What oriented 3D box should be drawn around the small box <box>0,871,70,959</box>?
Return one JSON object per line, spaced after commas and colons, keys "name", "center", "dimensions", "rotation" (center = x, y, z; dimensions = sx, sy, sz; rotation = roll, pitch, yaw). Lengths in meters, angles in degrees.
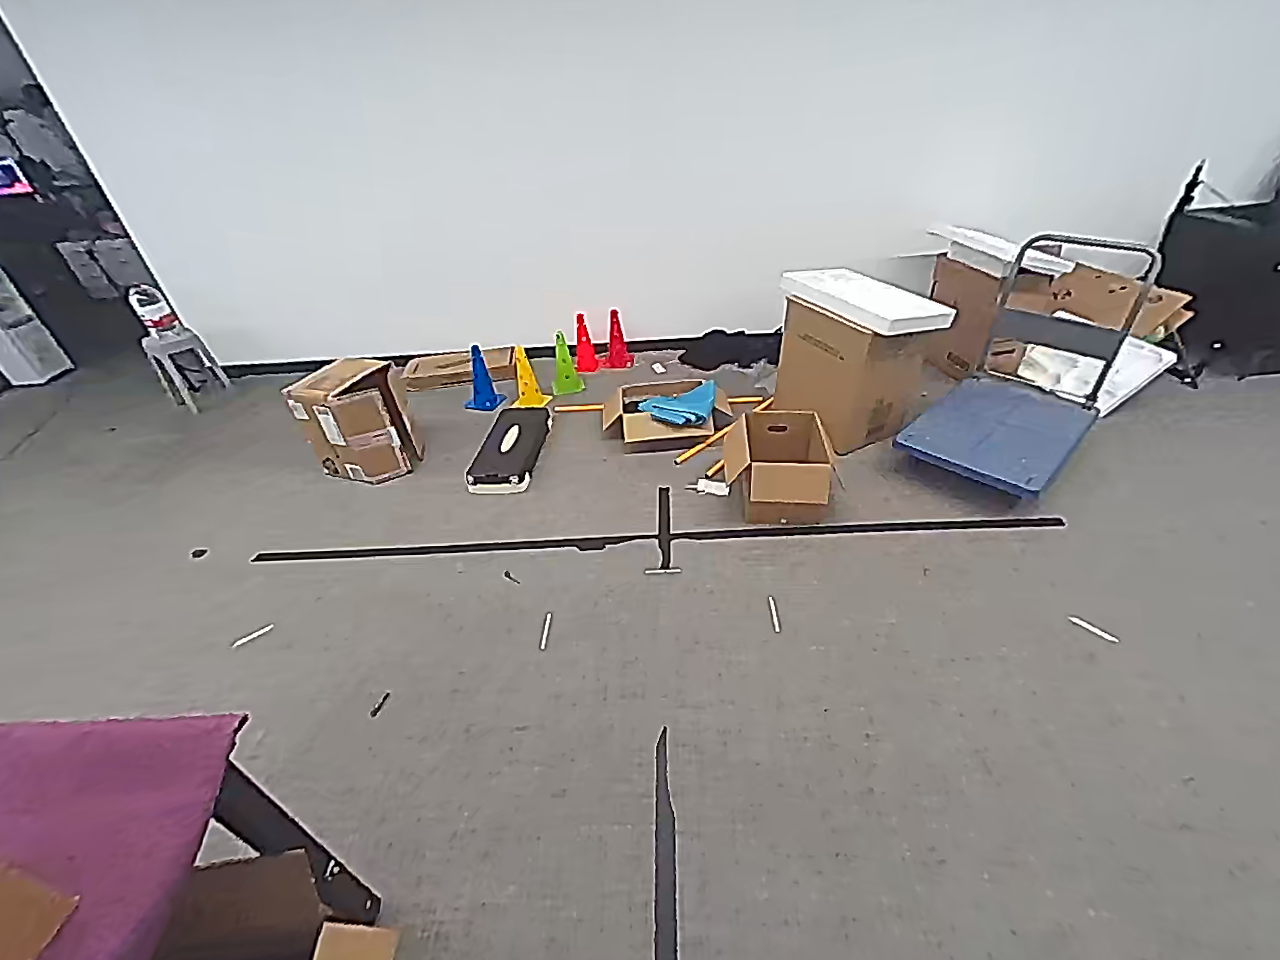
{"name": "small box", "center": [-0.809, 0.529, 0.584], "dimensions": [0.168, 0.176, 0.179], "rotation": [0, 36, 7]}
